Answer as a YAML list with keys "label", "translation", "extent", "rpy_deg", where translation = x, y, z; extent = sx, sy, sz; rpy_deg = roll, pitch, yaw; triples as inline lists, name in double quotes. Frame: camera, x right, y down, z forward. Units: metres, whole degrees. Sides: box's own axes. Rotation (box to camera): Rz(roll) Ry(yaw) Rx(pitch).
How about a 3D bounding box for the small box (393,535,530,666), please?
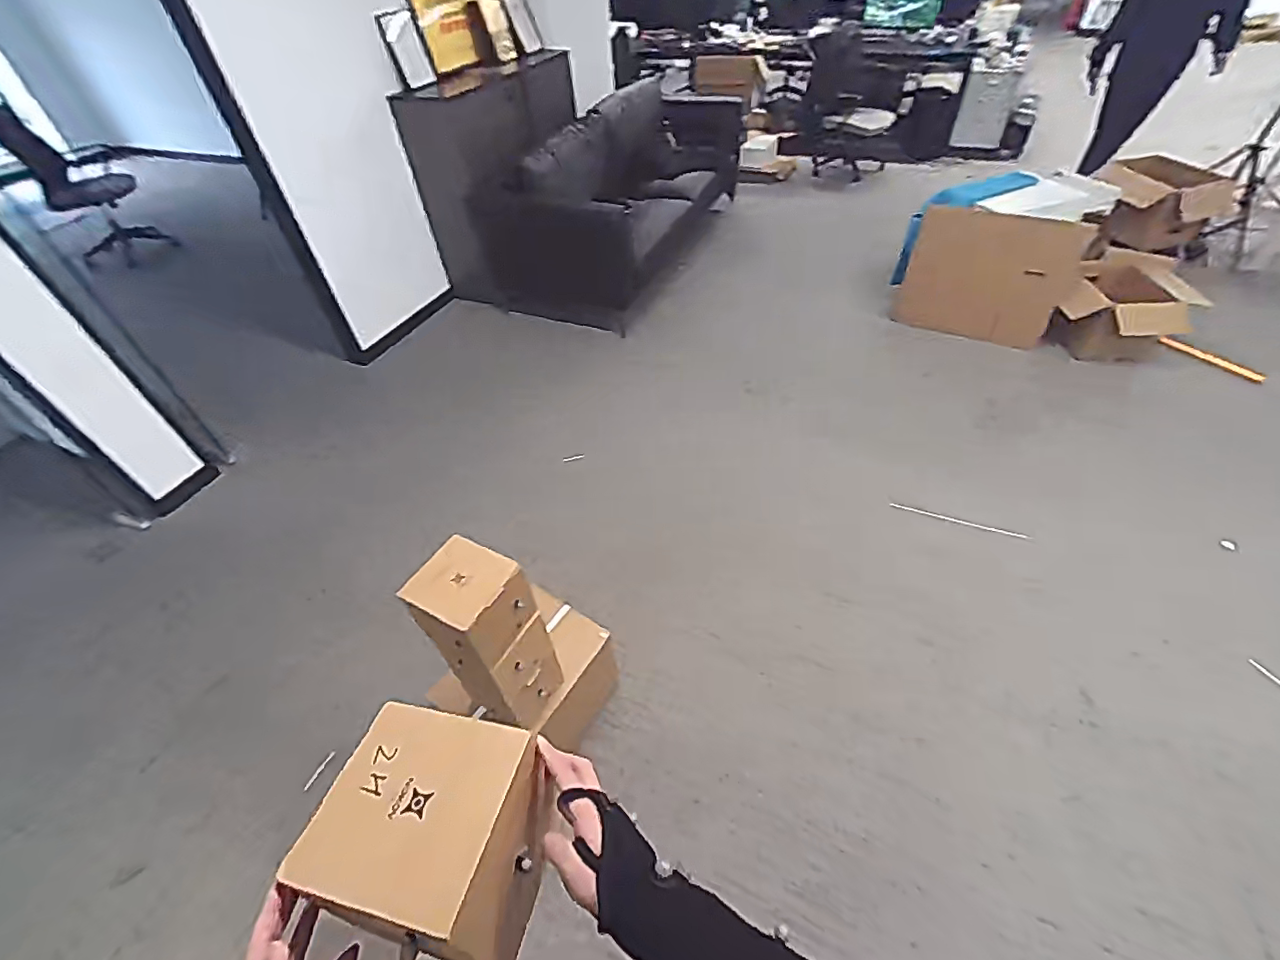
- label: "small box"
  translation: [-0.344, 0.245, 1.081]
  extent: [0.179, 0.176, 0.168]
  rpy_deg: [19, 50, 22]

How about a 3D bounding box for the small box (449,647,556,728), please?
- label: "small box"
  translation: [-0.324, 0.473, 1.313]
  extent: [0.179, 0.176, 0.168]
  rpy_deg: [22, 51, 22]

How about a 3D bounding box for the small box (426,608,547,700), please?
- label: "small box"
  translation: [-0.329, 0.359, 1.198]
  extent: [0.179, 0.176, 0.168]
  rpy_deg: [20, 52, 23]
